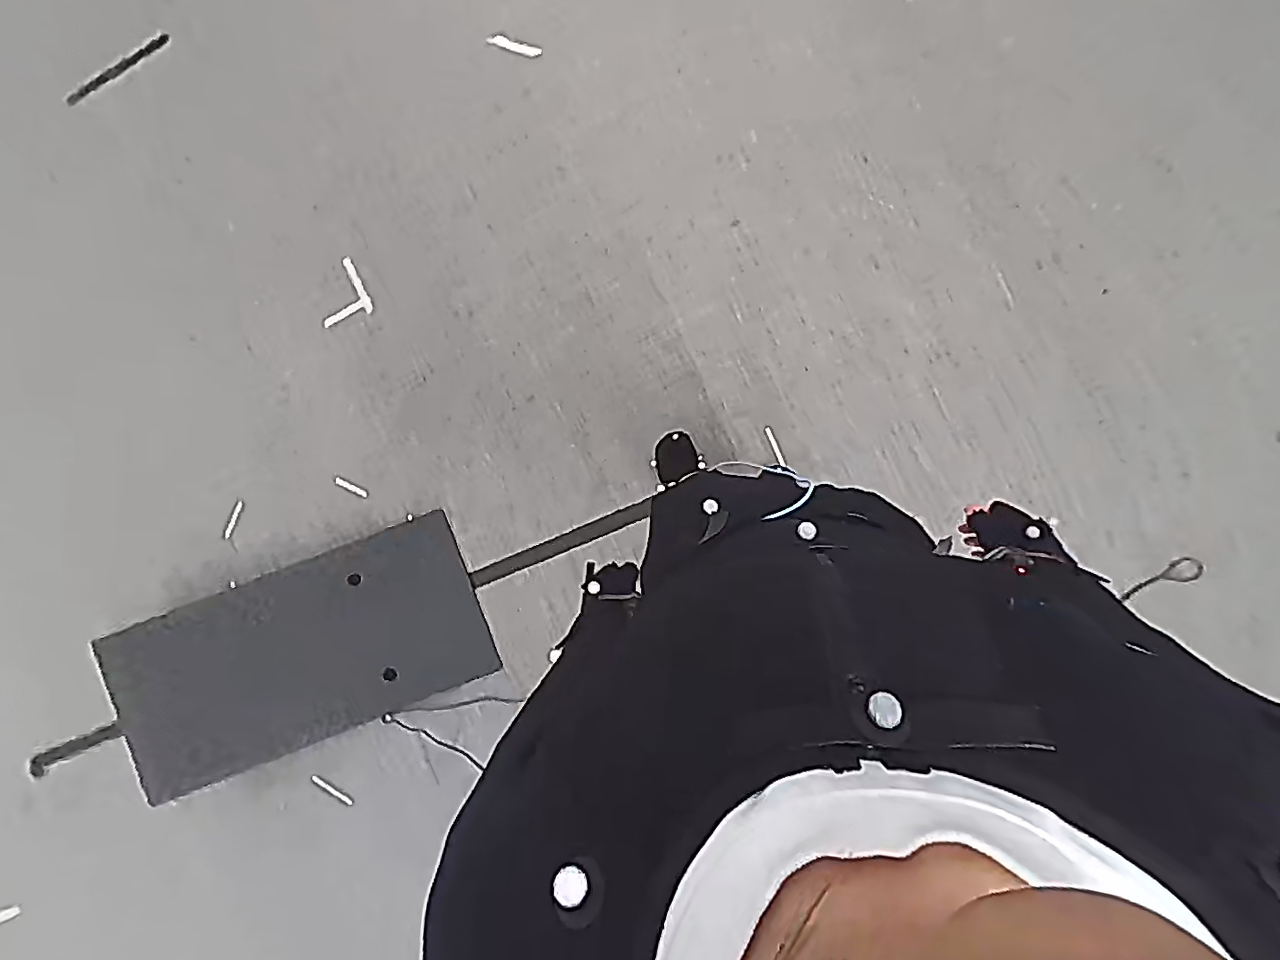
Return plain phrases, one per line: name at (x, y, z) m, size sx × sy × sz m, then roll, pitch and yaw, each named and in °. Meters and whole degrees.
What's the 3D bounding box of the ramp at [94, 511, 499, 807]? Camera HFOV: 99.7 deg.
ramp at (-0.946, 0.484, 1.509) m, size 0.991 × 0.206 × 0.509 m, roll -23°, pitch 88°, yaw 6°
